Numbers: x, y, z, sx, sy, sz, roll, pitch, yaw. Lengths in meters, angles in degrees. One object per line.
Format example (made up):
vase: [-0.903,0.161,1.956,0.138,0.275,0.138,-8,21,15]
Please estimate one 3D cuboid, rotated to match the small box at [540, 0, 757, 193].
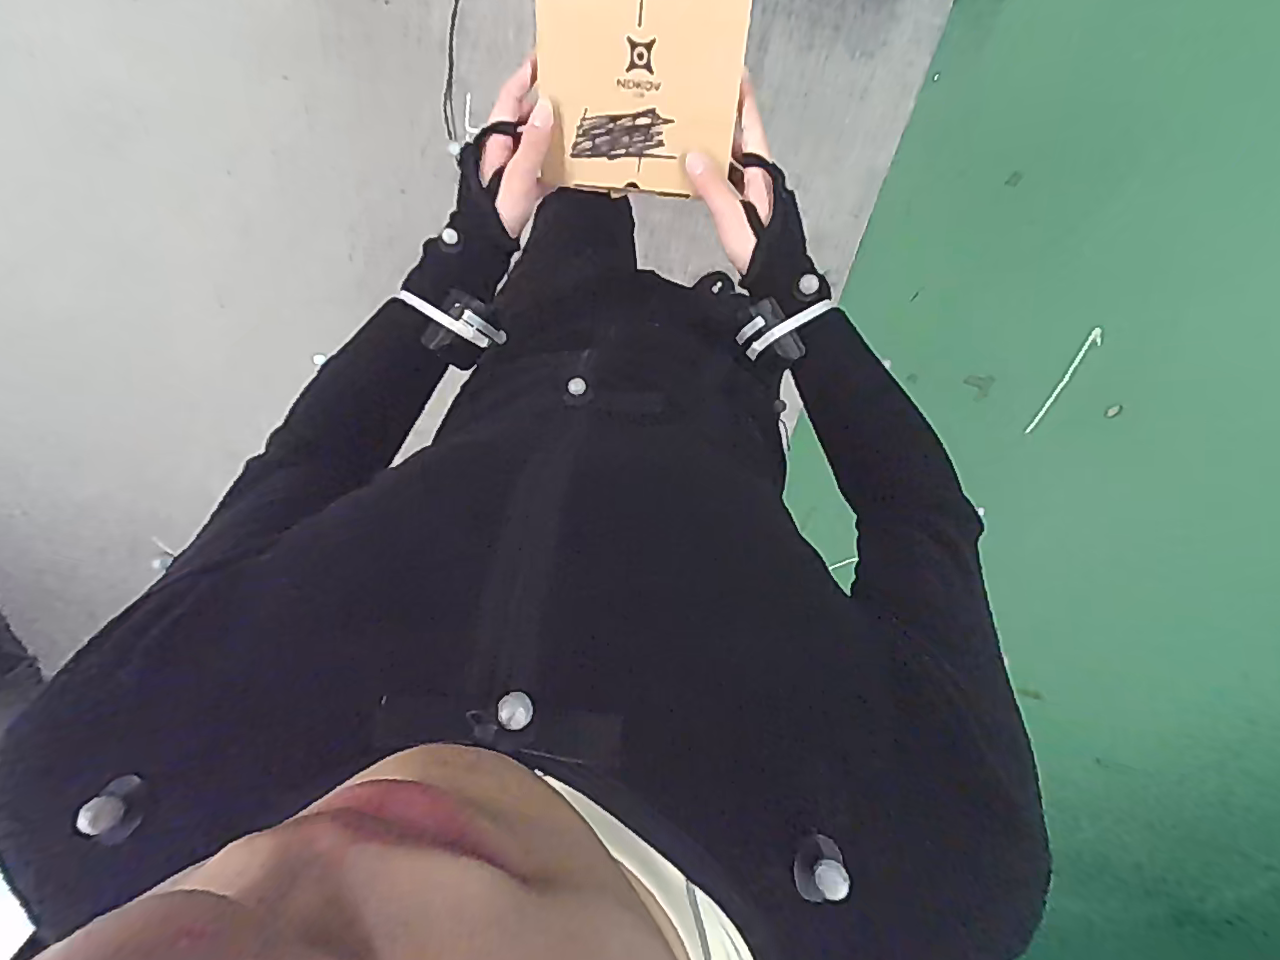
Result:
small box: [0.011,-0.374,0.491,0.168,0.176,0.179,7,123,2]
